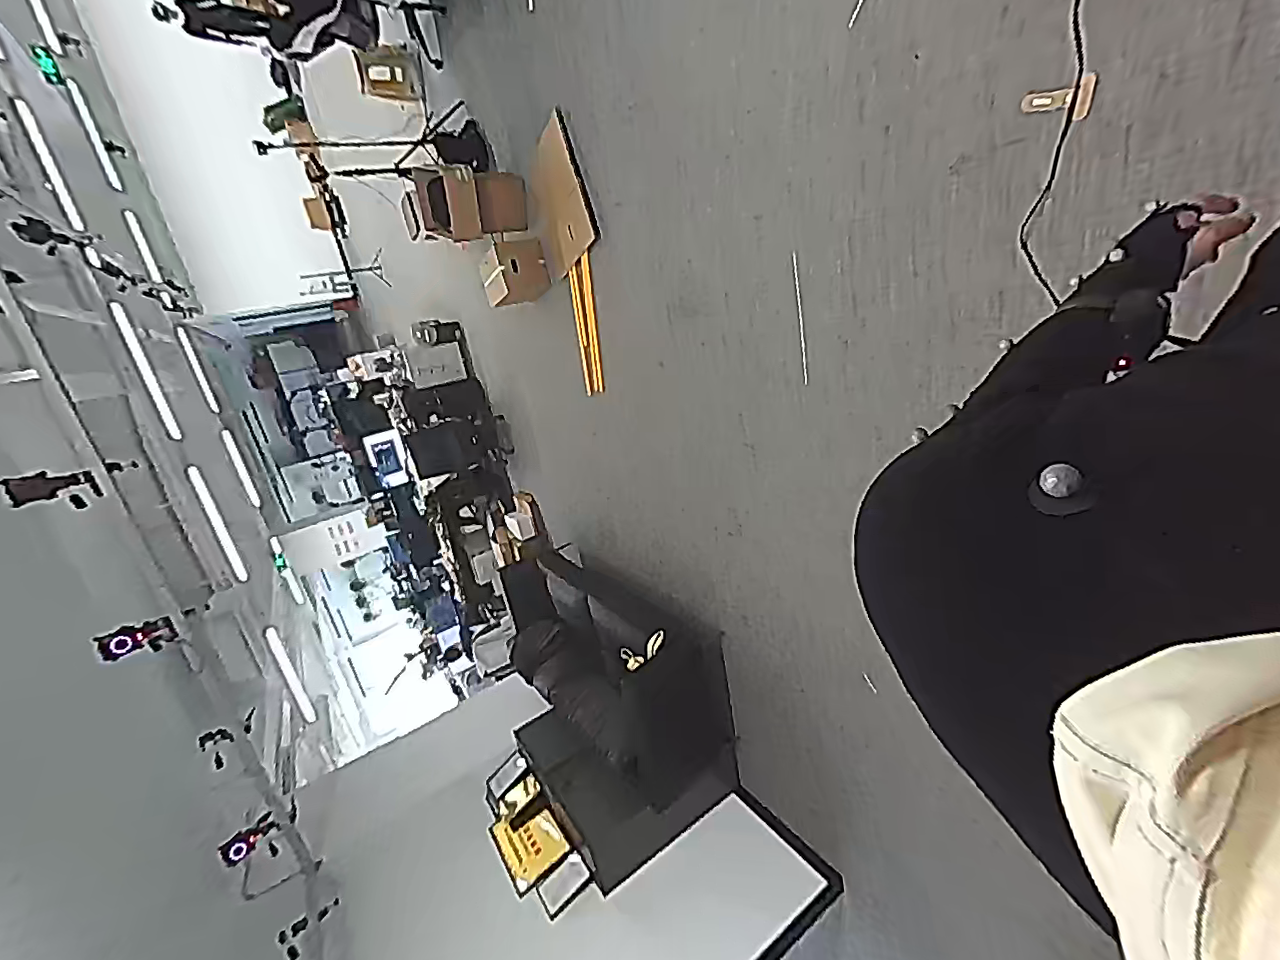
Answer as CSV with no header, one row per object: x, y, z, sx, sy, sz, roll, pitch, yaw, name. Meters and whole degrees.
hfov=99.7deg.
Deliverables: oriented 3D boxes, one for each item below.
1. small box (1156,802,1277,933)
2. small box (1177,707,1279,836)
1.470,0.975,1.380,0.179,0.176,0.168,17,123,55,small box
1.420,0.672,1.272,0.179,0.176,0.168,18,124,56,small box
